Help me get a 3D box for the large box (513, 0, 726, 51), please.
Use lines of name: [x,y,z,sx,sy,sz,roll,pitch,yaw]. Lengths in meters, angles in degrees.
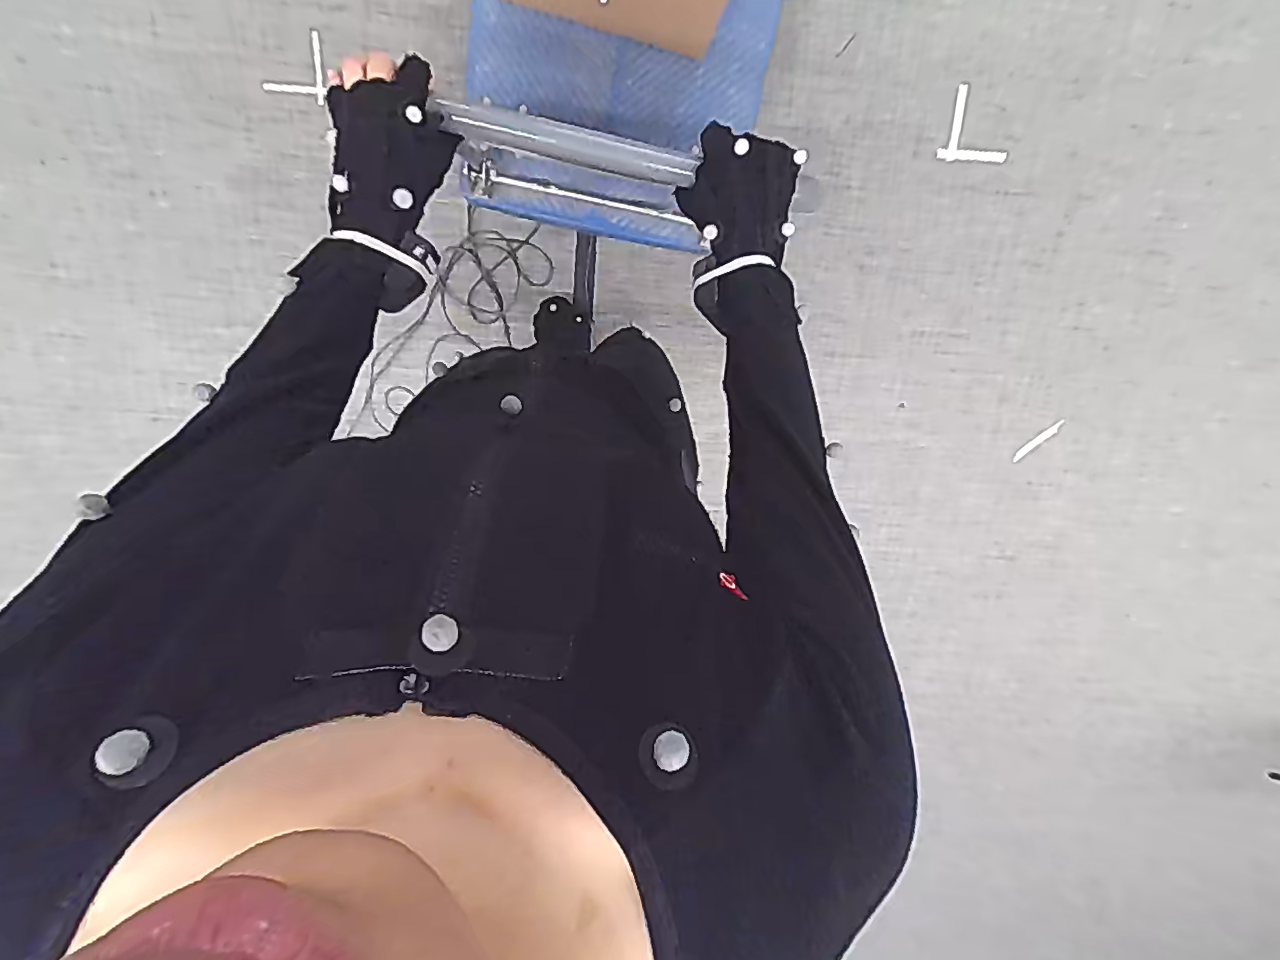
large box: [-0.026,-0.971,0.866,0.408,0.320,0.320,11,107,-6]
